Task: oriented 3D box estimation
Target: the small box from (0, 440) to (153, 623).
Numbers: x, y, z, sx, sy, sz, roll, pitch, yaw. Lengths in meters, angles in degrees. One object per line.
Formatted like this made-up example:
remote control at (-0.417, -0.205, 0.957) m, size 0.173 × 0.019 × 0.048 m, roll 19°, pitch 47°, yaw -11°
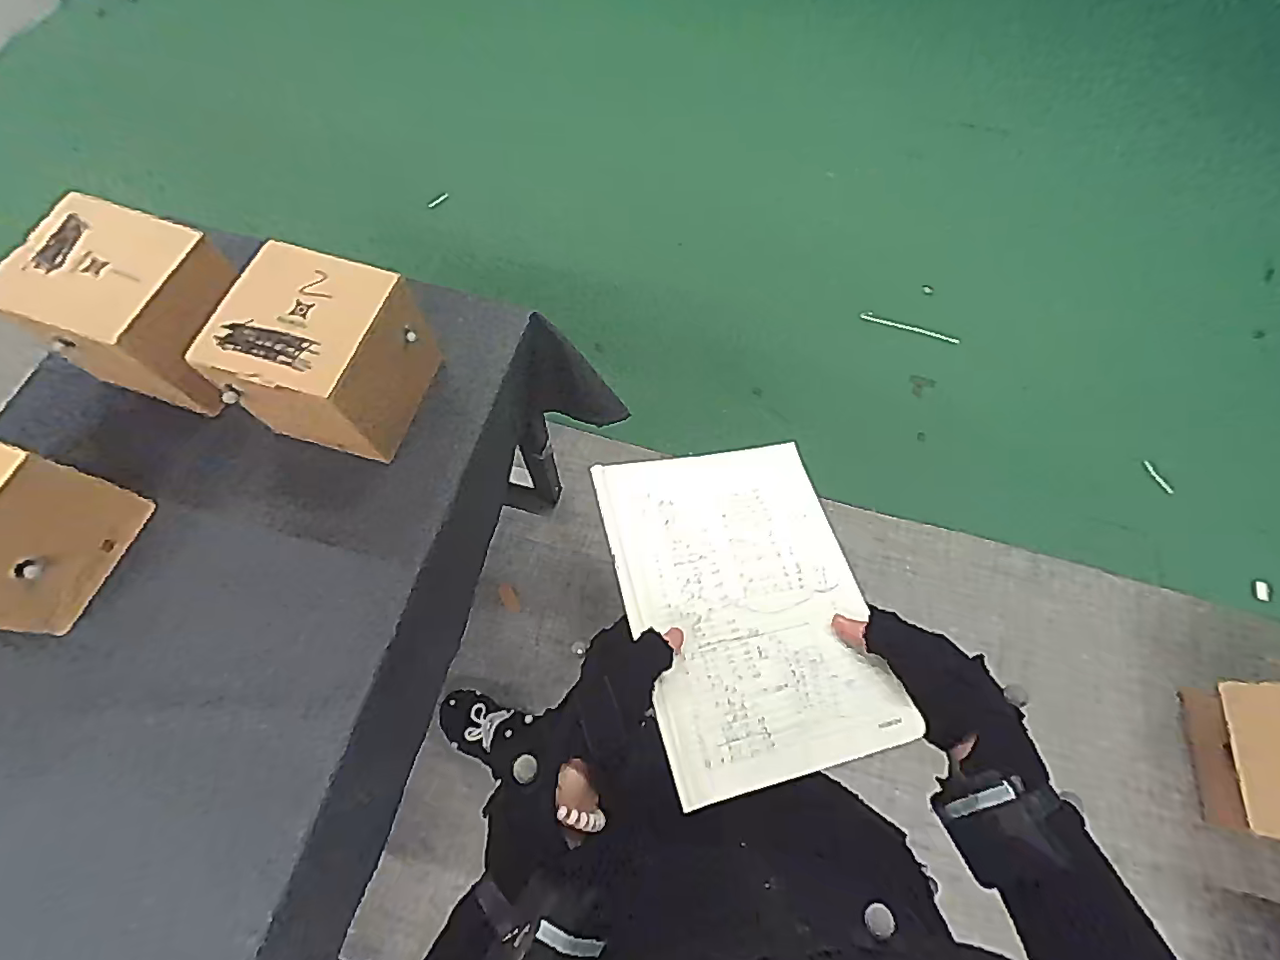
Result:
small box at (-0.697, 0.045, 0.577) m, size 0.179 × 0.176 × 0.168 m, roll 18°, pitch 69°, yaw 4°

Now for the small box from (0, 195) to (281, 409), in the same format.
small box at (-0.612, -0.212, 0.679) m, size 0.179 × 0.176 × 0.168 m, roll 18°, pitch 69°, yaw 3°
